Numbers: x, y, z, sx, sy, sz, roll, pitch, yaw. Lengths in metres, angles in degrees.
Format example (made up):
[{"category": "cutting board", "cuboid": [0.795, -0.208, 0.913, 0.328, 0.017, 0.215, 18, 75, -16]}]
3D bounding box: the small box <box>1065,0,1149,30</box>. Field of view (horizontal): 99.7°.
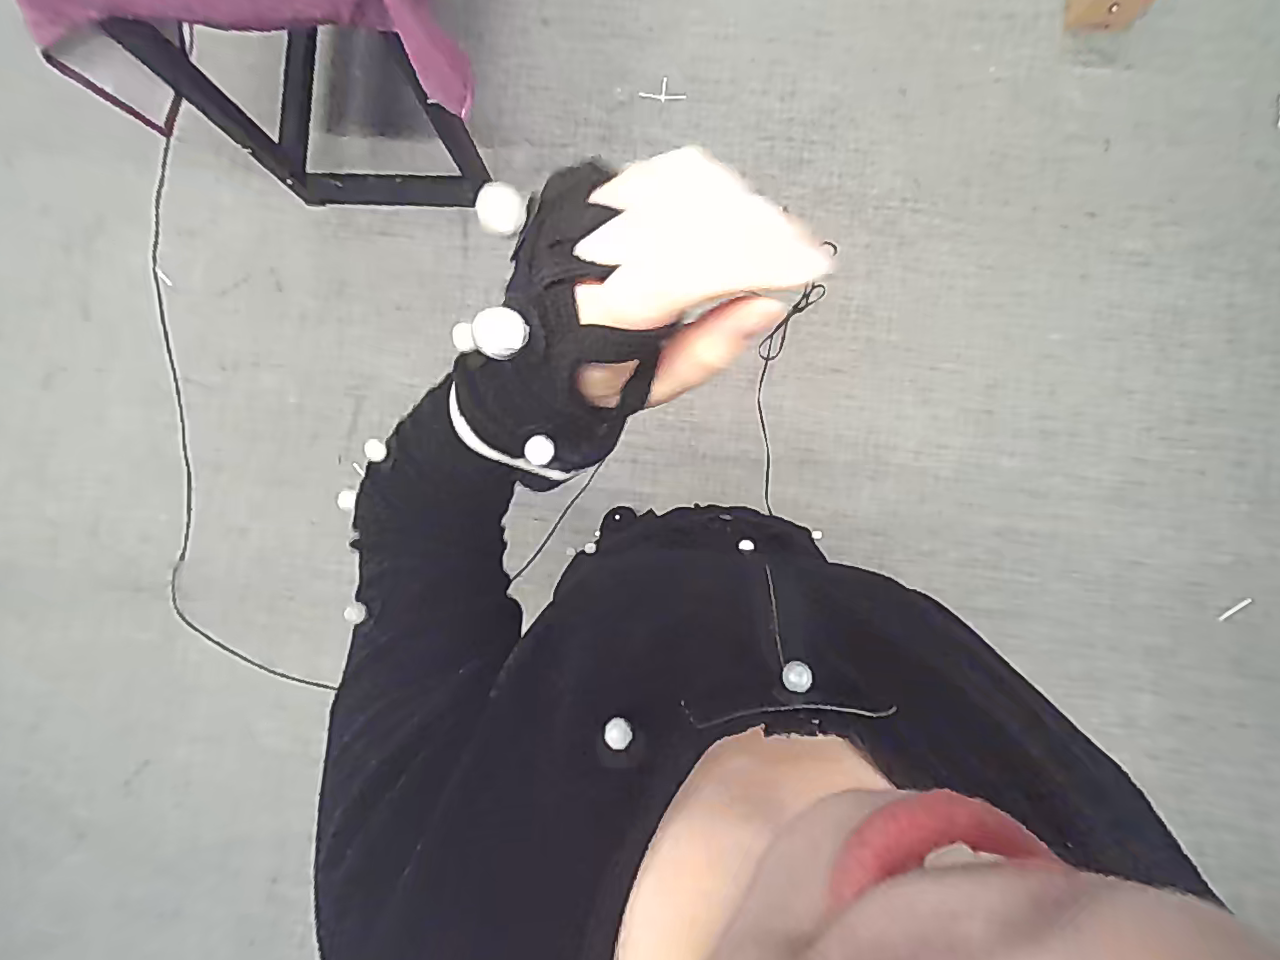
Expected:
[{"category": "small box", "cuboid": [1.297, -1.372, 1.465, 0.168, 0.176, 0.179, 4, 88, 1]}]
